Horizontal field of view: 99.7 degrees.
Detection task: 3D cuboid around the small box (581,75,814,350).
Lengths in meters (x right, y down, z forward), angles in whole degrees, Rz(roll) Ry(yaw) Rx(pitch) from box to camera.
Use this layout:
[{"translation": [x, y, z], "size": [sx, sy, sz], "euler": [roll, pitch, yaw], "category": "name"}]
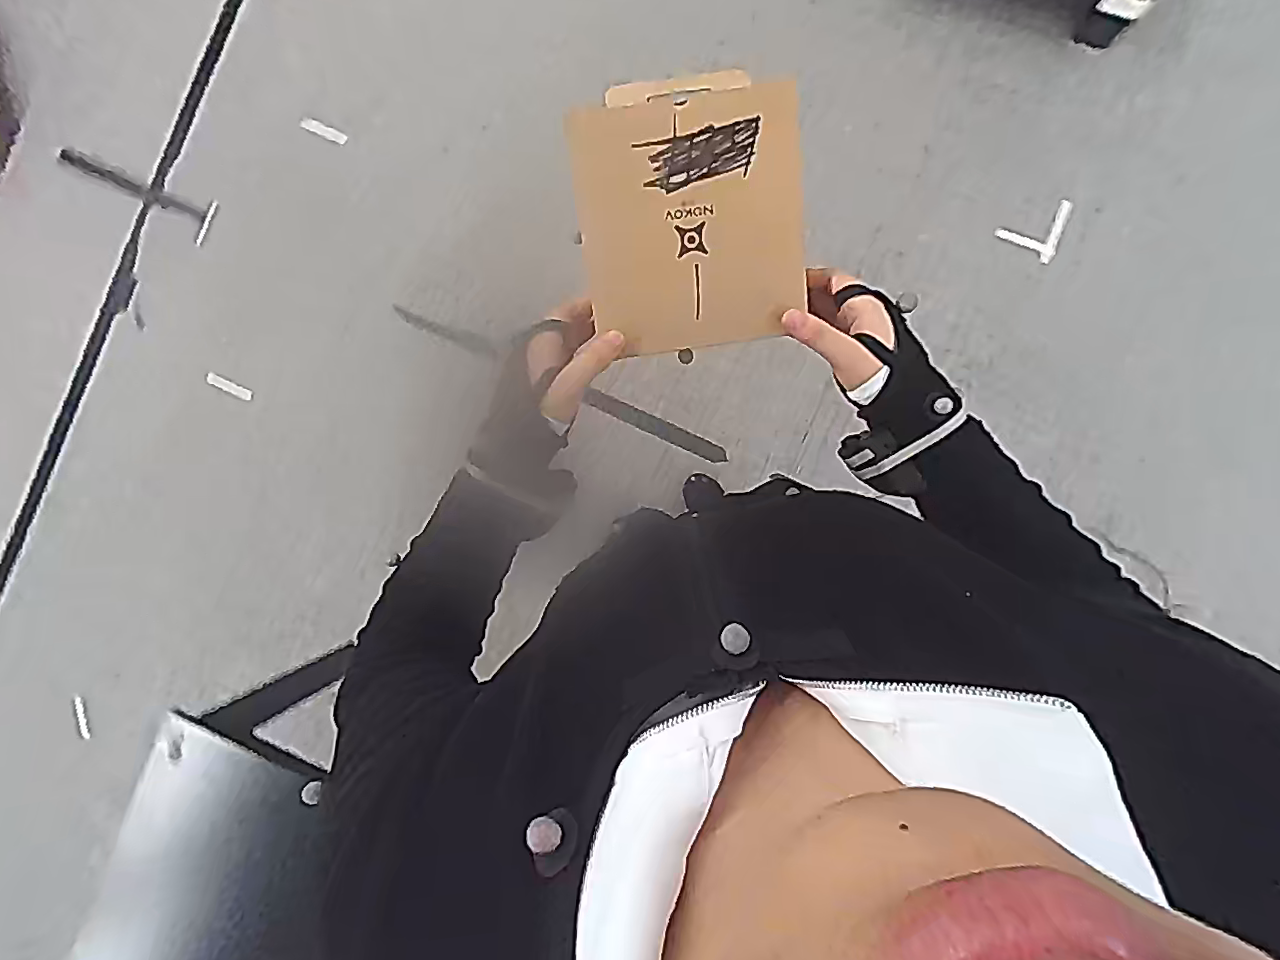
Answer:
[{"translation": [0.045, -0.211, 0.476], "size": [0.168, 0.176, 0.179], "euler": [-6, 105, 2], "category": "small box"}]
